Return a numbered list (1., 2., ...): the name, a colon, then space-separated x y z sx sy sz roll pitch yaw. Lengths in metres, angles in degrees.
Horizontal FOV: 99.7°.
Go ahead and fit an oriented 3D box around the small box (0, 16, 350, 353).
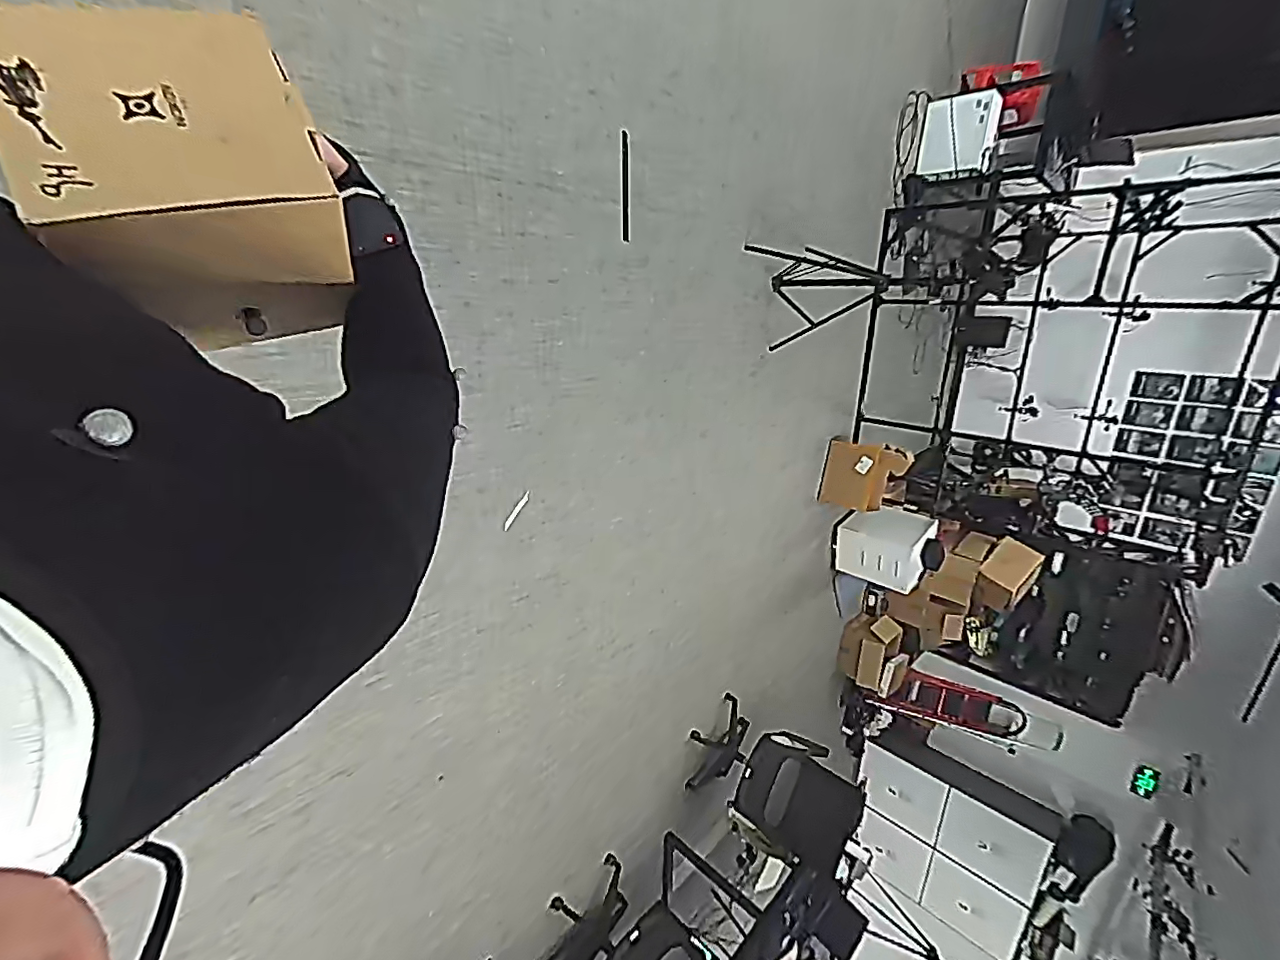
1. small box: -0.361 -0.231 0.453 0.179 0.176 0.168 -22 81 -28
